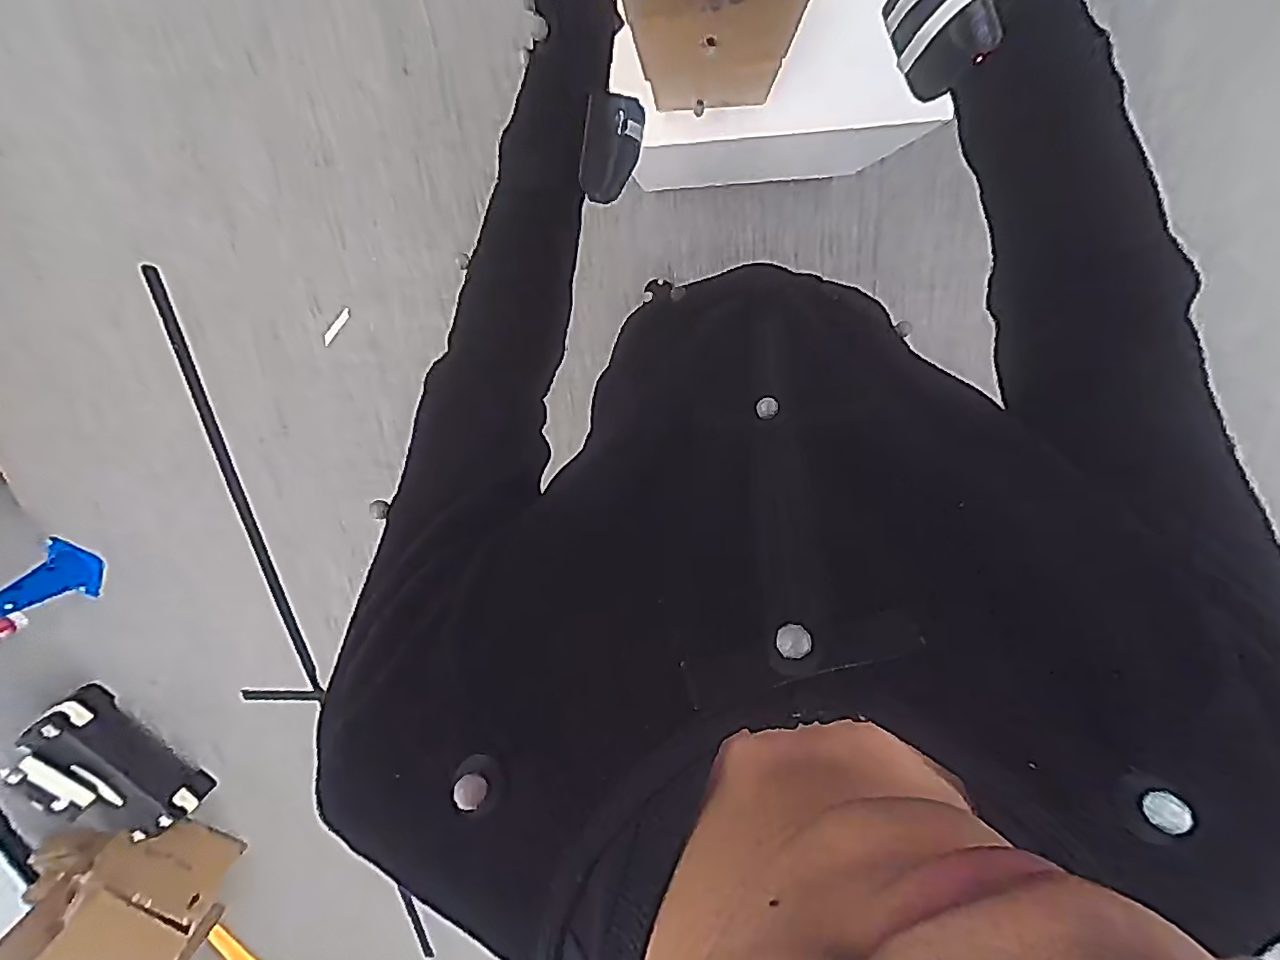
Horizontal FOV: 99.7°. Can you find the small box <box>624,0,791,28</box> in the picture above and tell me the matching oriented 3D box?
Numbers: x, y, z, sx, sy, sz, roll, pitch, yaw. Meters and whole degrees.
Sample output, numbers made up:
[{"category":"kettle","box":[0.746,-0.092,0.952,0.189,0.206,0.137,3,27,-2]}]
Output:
[{"category":"small box","box":[0.053,-0.487,0.404,0.168,0.176,0.179,-4,112,6]}]

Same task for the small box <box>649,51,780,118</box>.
[{"category":"small box","box":[0.092,-0.606,0.712,0.168,0.176,0.179,-1,111,6]}]

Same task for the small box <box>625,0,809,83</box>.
[{"category":"small box","box":[0.072,-0.545,0.561,0.179,0.176,0.168,-4,110,8]}]
